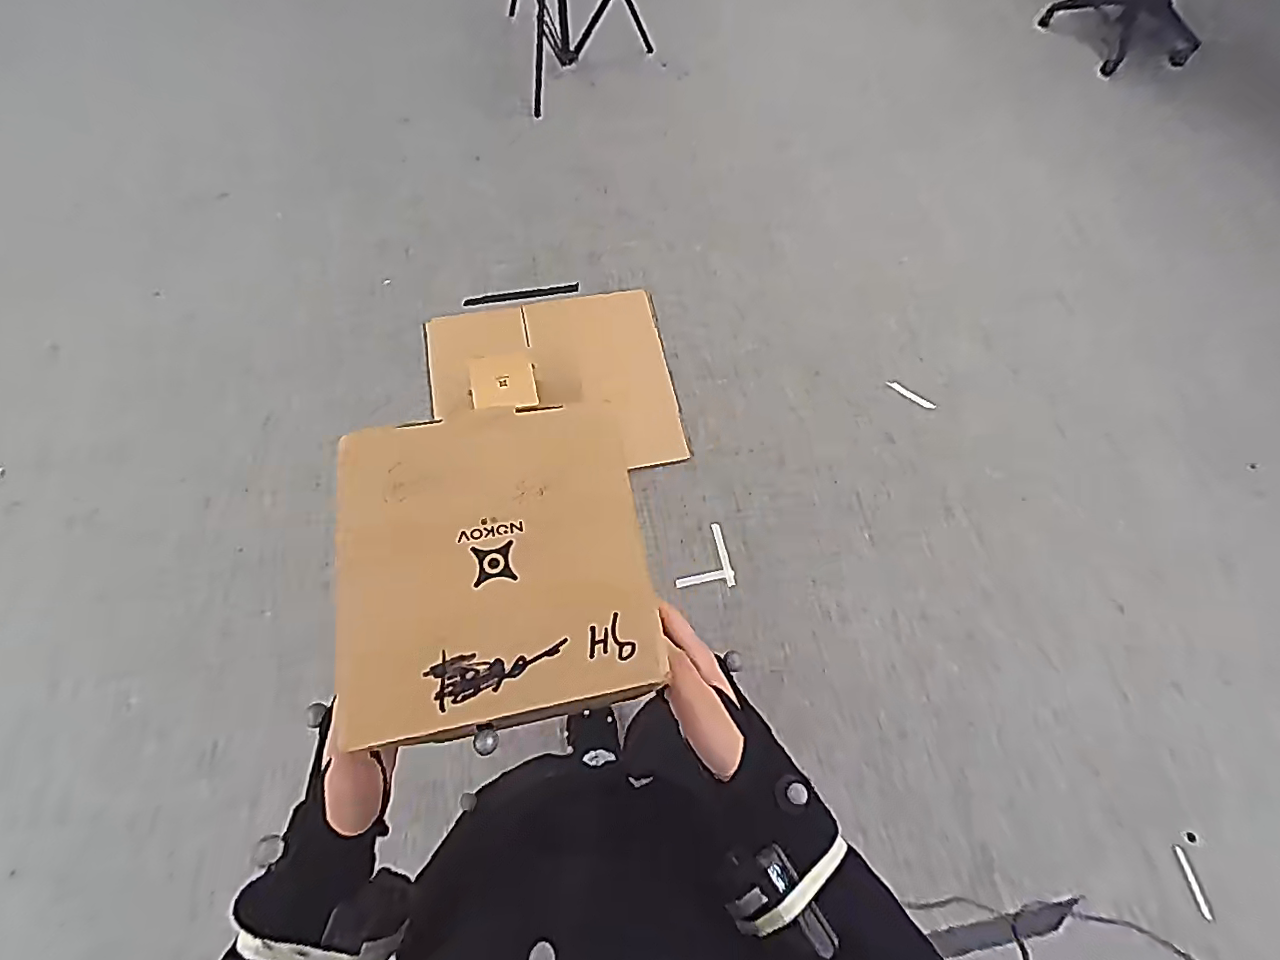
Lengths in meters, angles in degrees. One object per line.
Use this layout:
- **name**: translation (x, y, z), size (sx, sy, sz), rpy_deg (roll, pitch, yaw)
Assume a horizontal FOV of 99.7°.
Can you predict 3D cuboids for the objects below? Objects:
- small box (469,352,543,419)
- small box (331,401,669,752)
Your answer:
- **small box**: translation (-0.360, -0.221, 1.490), size (0.168, 0.176, 0.179), rpy_deg (-12, 71, -8)
- **small box**: translation (-0.087, 0.073, 0.369), size (0.168, 0.176, 0.179), rpy_deg (-10, 66, -8)
